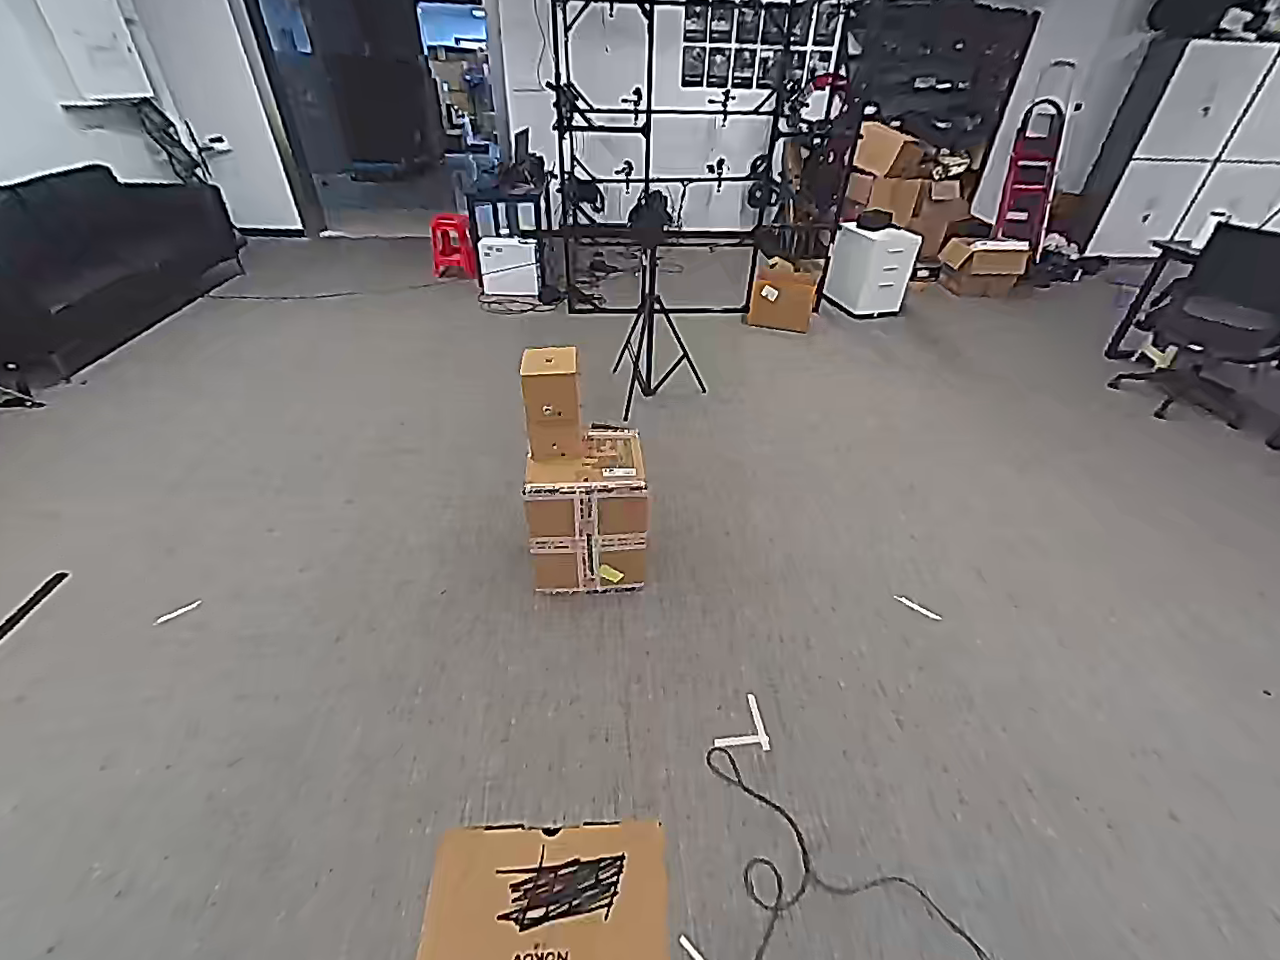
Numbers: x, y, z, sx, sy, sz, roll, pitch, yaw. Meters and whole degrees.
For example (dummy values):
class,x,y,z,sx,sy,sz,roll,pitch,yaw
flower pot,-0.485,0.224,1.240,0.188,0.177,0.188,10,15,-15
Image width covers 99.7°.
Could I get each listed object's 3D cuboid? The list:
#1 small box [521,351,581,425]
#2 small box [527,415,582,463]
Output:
class,x,y,z,sx,sy,sz,roll,pitch,yaw
small box,-0.277,-0.290,1.703,0.168,0.176,0.179,-4,40,-4
small box,-0.285,-0.176,1.821,0.168,0.176,0.179,-3,40,-4
